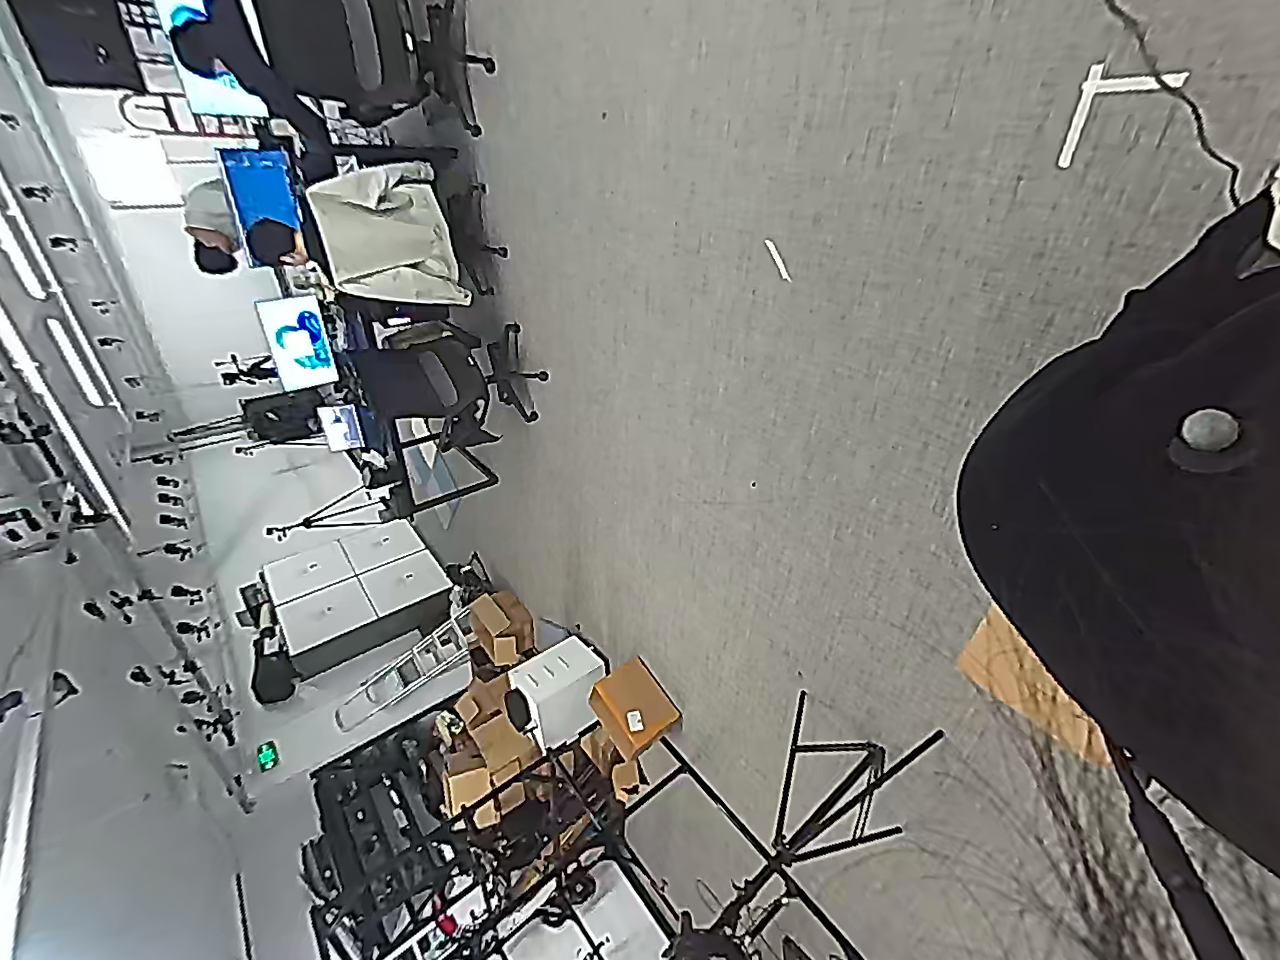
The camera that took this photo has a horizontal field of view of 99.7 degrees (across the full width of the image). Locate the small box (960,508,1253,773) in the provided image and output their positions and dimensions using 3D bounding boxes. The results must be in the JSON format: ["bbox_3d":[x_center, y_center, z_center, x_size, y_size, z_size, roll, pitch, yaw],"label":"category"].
[{"bbox_3d":[0.492,0.158,0.580,0.168,0.176,0.179,38,139,39],"label":"small box"}]
